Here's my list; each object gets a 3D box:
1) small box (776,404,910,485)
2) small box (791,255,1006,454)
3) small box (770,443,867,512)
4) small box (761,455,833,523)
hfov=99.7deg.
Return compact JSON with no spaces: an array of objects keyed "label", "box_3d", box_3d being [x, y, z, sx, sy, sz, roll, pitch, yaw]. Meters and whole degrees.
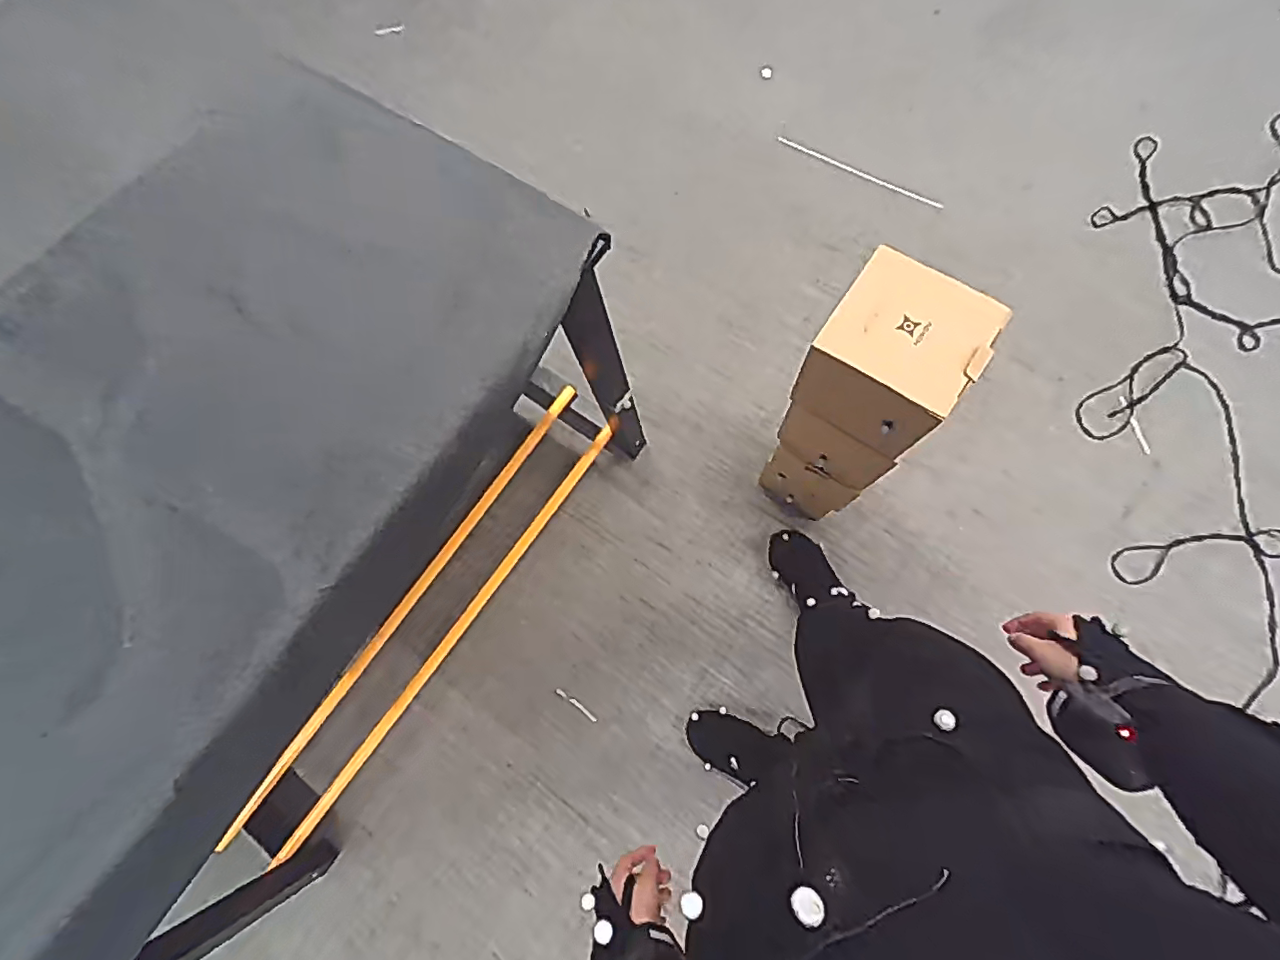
[{"label":"small box","box_3d":[0.345,-0.108,0.875,0.179,0.176,0.168,34,80,12]},{"label":"small box","box_3d":[0.326,-0.153,0.721,0.179,0.176,0.168,33,80,14]},{"label":"small box","box_3d":[0.364,-0.059,1.032,0.168,0.176,0.179,32,80,13]},{"label":"small box","box_3d":[0.384,-0.029,1.191,0.168,0.176,0.179,35,80,14]}]
